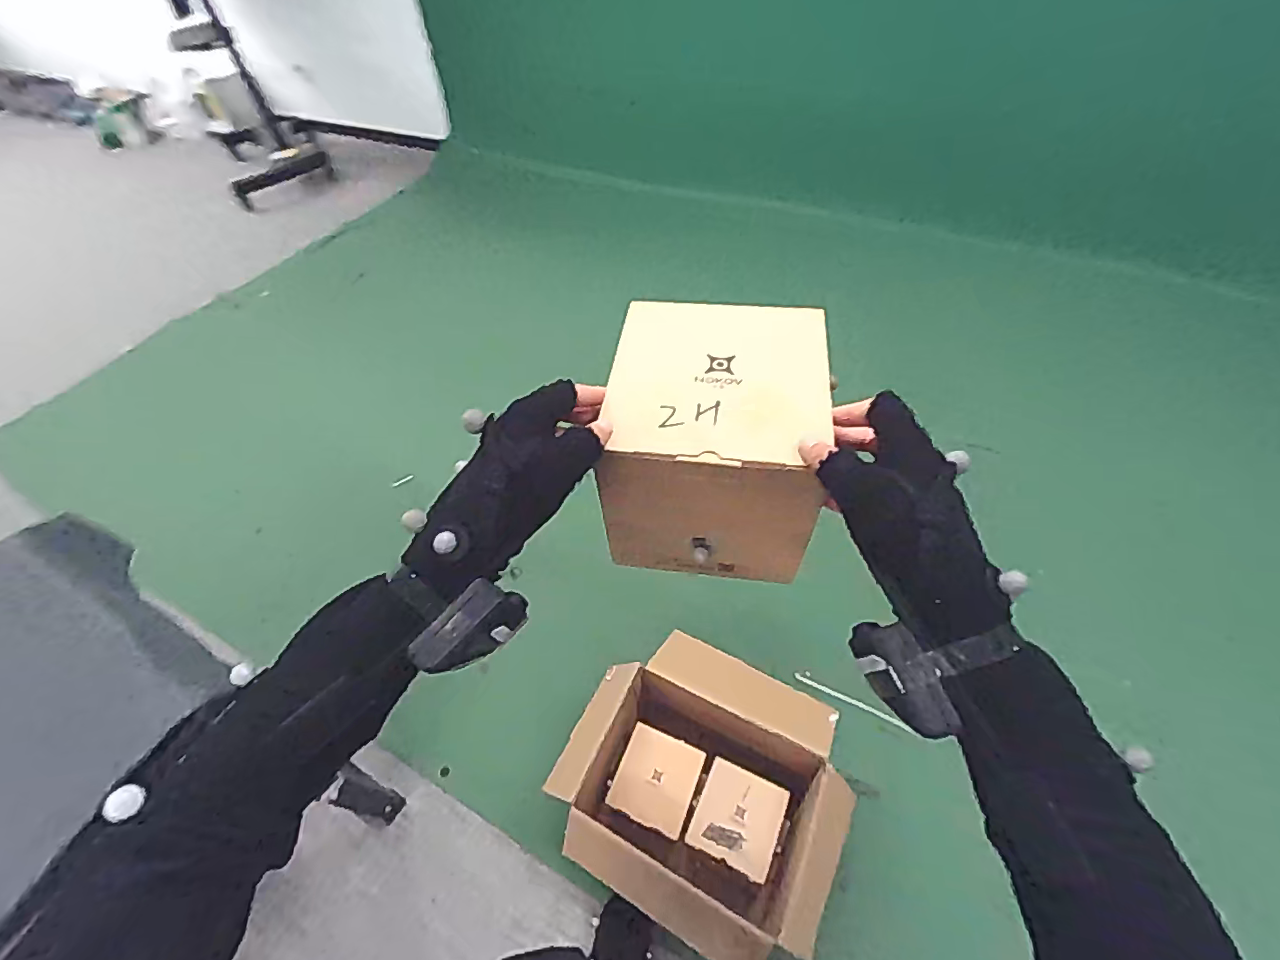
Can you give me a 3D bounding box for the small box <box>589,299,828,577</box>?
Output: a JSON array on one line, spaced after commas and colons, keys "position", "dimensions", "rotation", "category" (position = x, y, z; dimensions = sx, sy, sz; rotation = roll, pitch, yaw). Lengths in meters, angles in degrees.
[{"position": [0.060, -0.036, 0.478], "dimensions": [0.168, 0.176, 0.179], "rotation": [4, 53, 8], "category": "small box"}]
